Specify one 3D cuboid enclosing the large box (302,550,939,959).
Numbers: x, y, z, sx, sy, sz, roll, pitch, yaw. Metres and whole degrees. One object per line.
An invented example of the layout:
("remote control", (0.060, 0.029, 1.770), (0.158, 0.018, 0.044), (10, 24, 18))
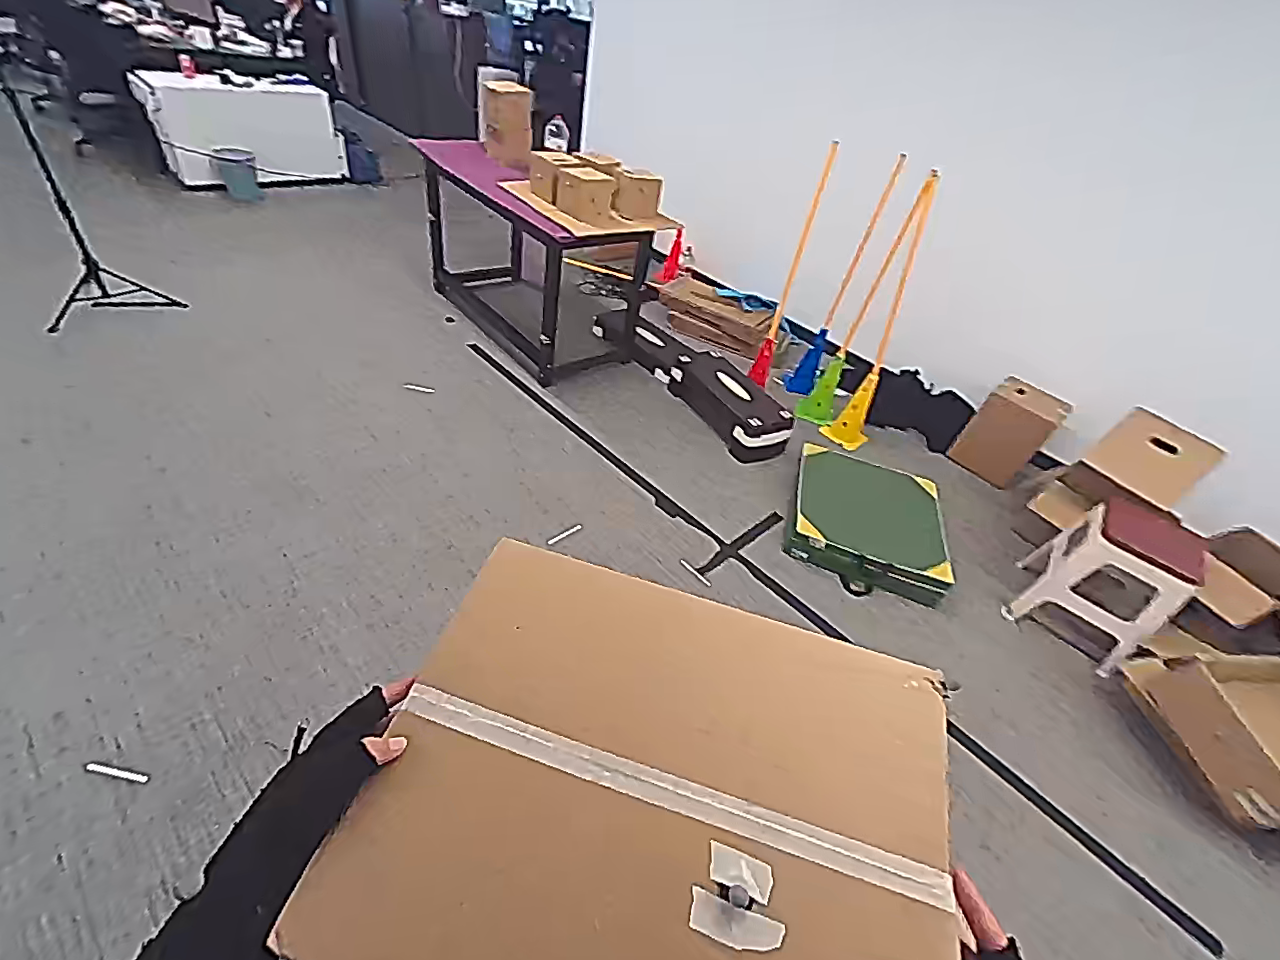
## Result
("large box", (0.007, 0.321, 0.518), (0.408, 0.320, 0.320), (16, 52, 9))
